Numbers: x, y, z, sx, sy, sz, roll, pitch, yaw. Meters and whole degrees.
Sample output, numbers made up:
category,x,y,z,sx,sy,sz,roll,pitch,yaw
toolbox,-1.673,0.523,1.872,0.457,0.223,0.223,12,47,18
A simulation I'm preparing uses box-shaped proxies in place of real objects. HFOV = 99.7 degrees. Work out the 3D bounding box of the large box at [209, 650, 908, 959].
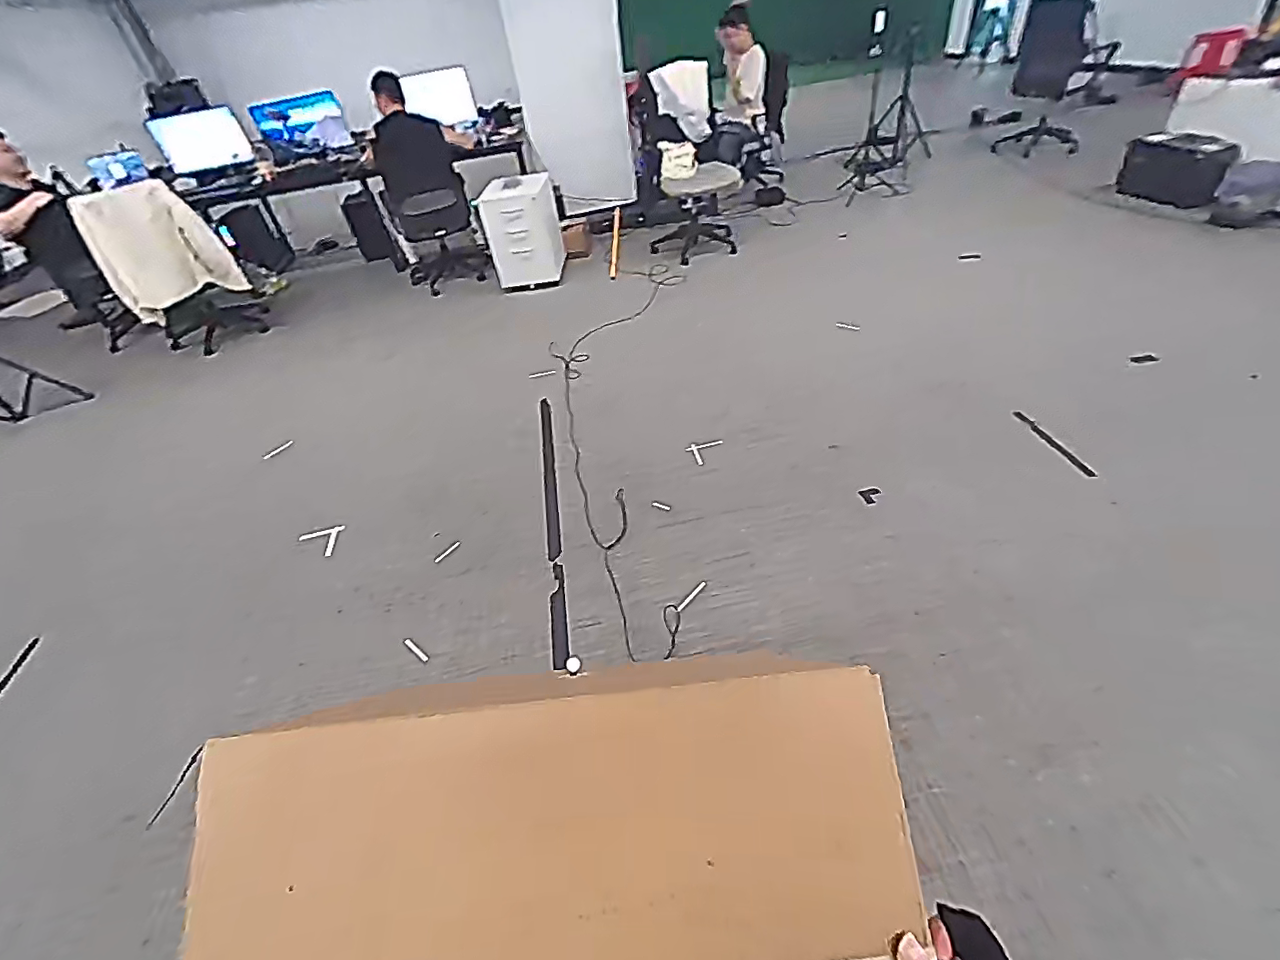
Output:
category,x,y,z,sx,sy,sz,roll,pitch,yaw
large box,-0.041,0.331,0.447,0.408,0.320,0.320,-6,75,-2
